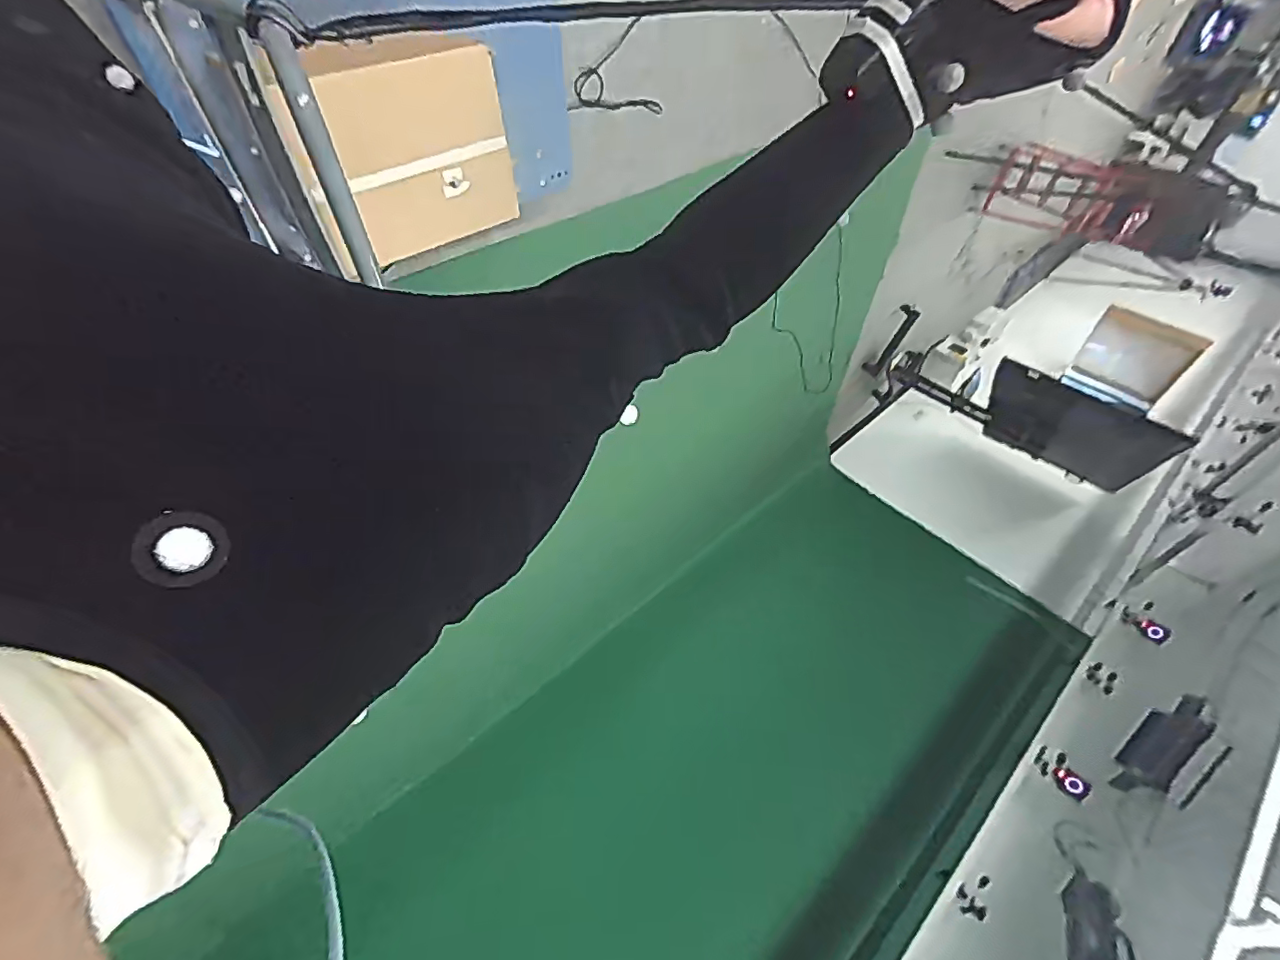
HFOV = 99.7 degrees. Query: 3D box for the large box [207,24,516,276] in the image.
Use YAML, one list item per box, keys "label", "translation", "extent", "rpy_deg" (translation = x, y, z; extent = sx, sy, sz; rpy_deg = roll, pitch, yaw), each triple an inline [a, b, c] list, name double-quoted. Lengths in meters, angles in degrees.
- label: "large box"
  translation: [-0.526, -0.672, 1.082]
  extent: [0.408, 0.320, 0.320]
  rpy_deg: [-35, 148, -26]
